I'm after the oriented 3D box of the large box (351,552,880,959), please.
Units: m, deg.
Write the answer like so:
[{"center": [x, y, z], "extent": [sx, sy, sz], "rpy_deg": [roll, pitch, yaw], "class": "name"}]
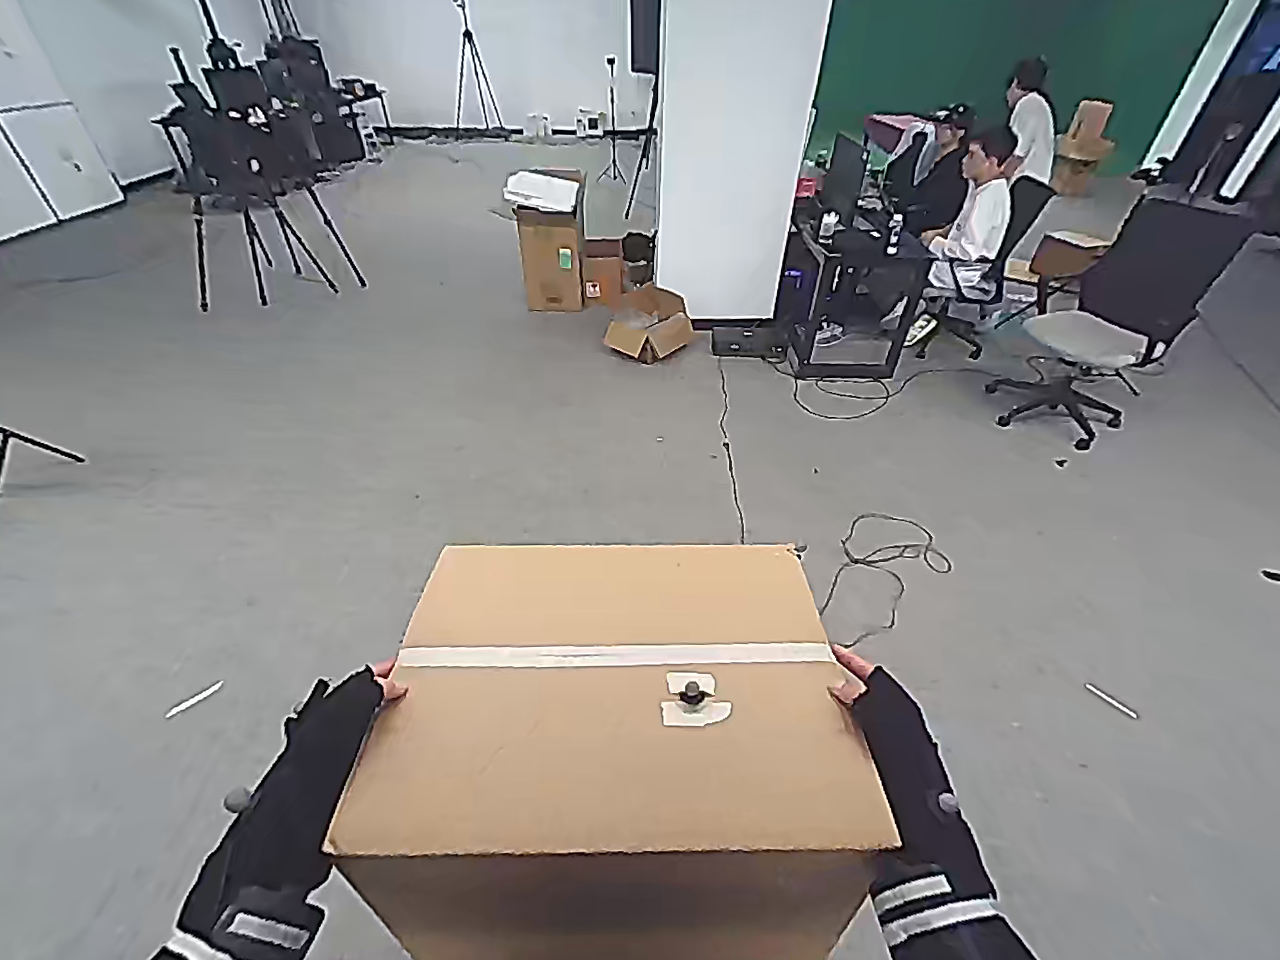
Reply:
[{"center": [-0.022, 0.296, 0.604], "extent": [0.408, 0.320, 0.320], "rpy_deg": [0, 35, -1], "class": "large box"}]
